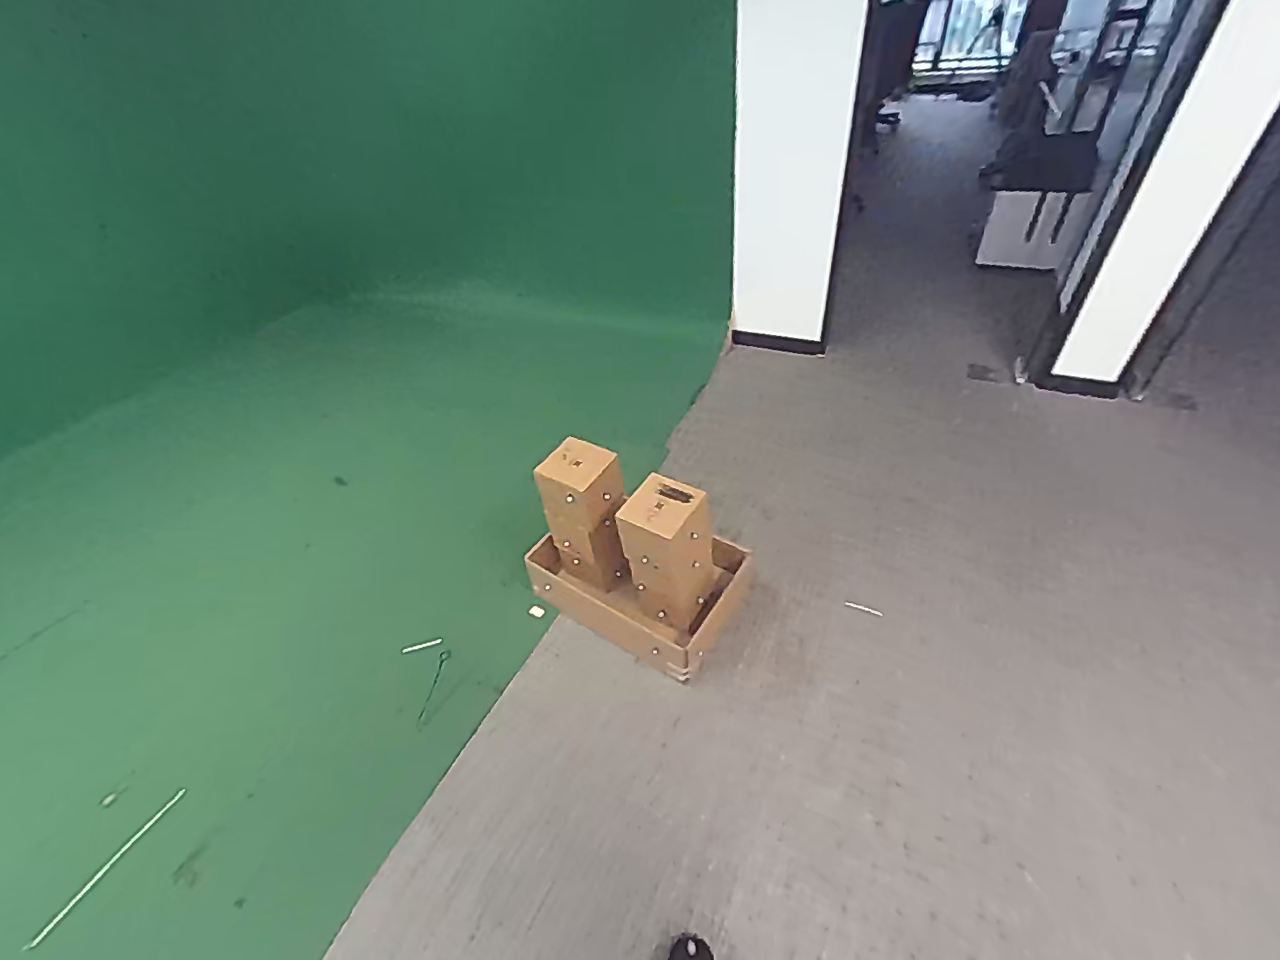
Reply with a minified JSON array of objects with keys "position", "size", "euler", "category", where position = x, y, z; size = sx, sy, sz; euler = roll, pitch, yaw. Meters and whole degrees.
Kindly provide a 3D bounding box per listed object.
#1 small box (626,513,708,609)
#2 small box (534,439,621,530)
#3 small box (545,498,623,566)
[{"position":[0.085,0.230,1.518],"size":[0.168,0.176,0.179],"euler":[20,50,28],"category":"small box"},{"position":[-0.170,0.018,1.542],"size":[0.179,0.176,0.168],"euler":[22,51,26],"category":"small box"},{"position":[-0.164,0.128,1.665],"size":[0.168,0.176,0.179],"euler":[23,52,27],"category":"small box"}]
